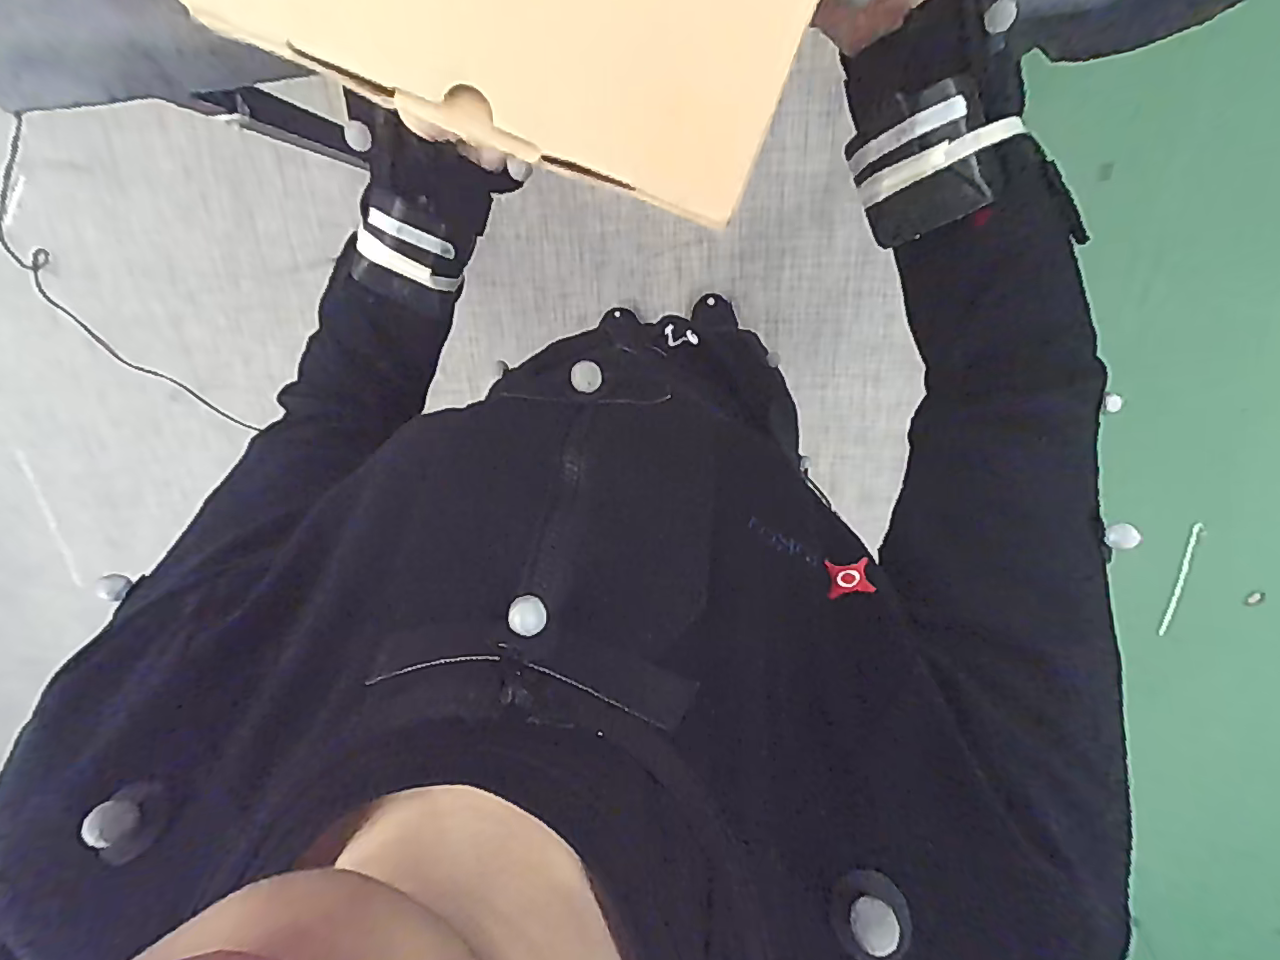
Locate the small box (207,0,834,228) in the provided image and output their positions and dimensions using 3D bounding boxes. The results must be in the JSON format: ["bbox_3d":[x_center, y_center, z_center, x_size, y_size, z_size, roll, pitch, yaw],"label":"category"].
[{"bbox_3d":[-0.012,-0.211,0.191,0.168,0.176,0.179,19,117,-5],"label":"small box"}]
